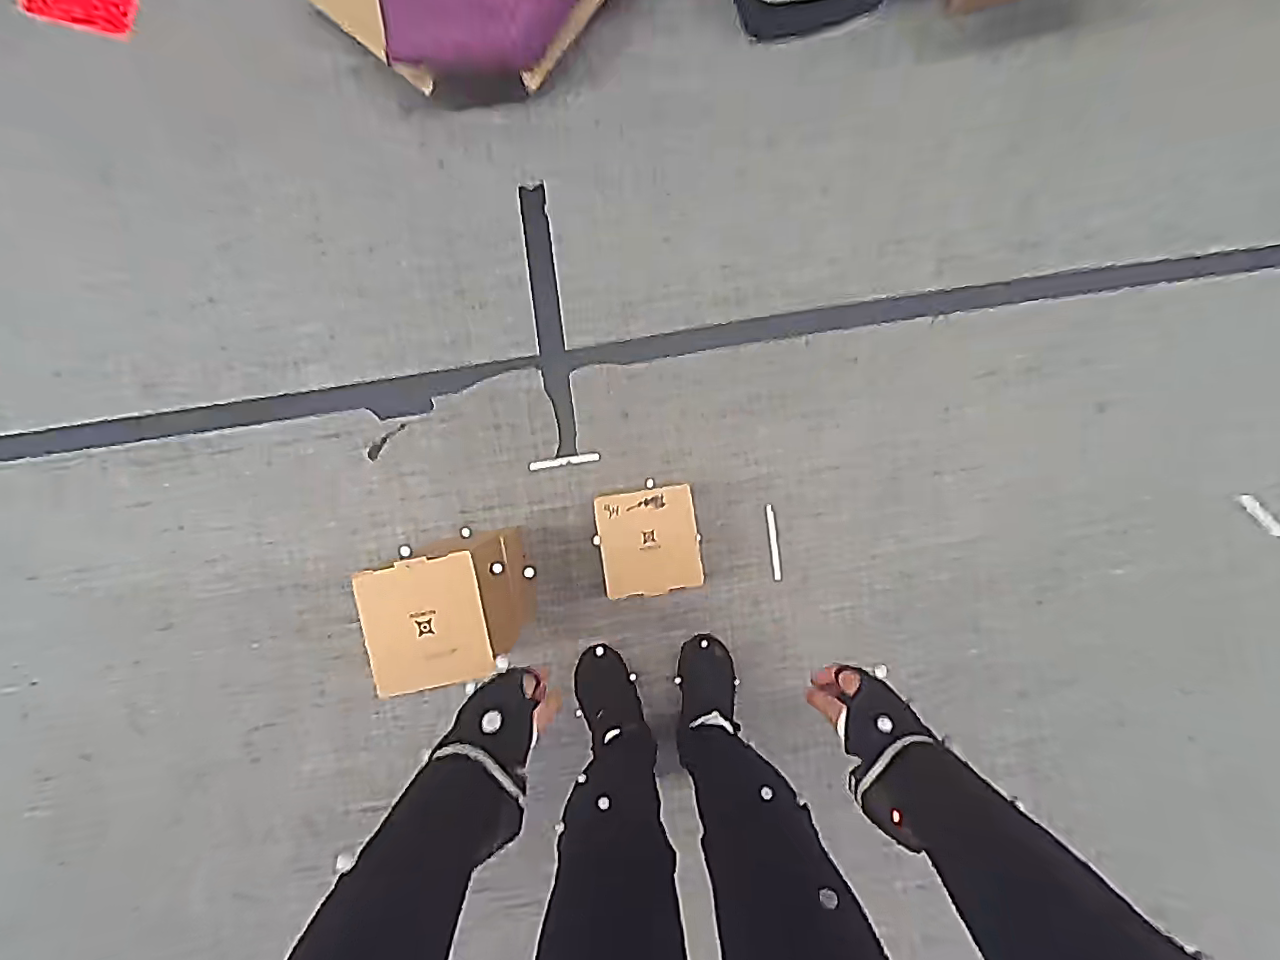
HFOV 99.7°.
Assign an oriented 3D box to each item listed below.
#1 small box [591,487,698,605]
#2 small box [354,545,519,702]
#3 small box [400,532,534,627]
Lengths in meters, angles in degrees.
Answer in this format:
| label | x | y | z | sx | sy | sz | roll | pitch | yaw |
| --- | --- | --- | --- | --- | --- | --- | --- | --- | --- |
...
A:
| label | x | y | z | sx | sy | sz | roll | pitch | yaw |
| --- | --- | --- | --- | --- | --- | --- | --- | --- | --- |
| small box | 0.007 | 0.111 | 0.988 | 0.168 | 0.176 | 0.179 | -9 | 92 | -2 |
| small box | -0.293 | 0.201 | 0.815 | 0.168 | 0.176 | 0.179 | -13 | 93 | 0 |
| small box | -0.302 | 0.196 | 0.977 | 0.179 | 0.176 | 0.168 | -10 | 92 | -2 |
